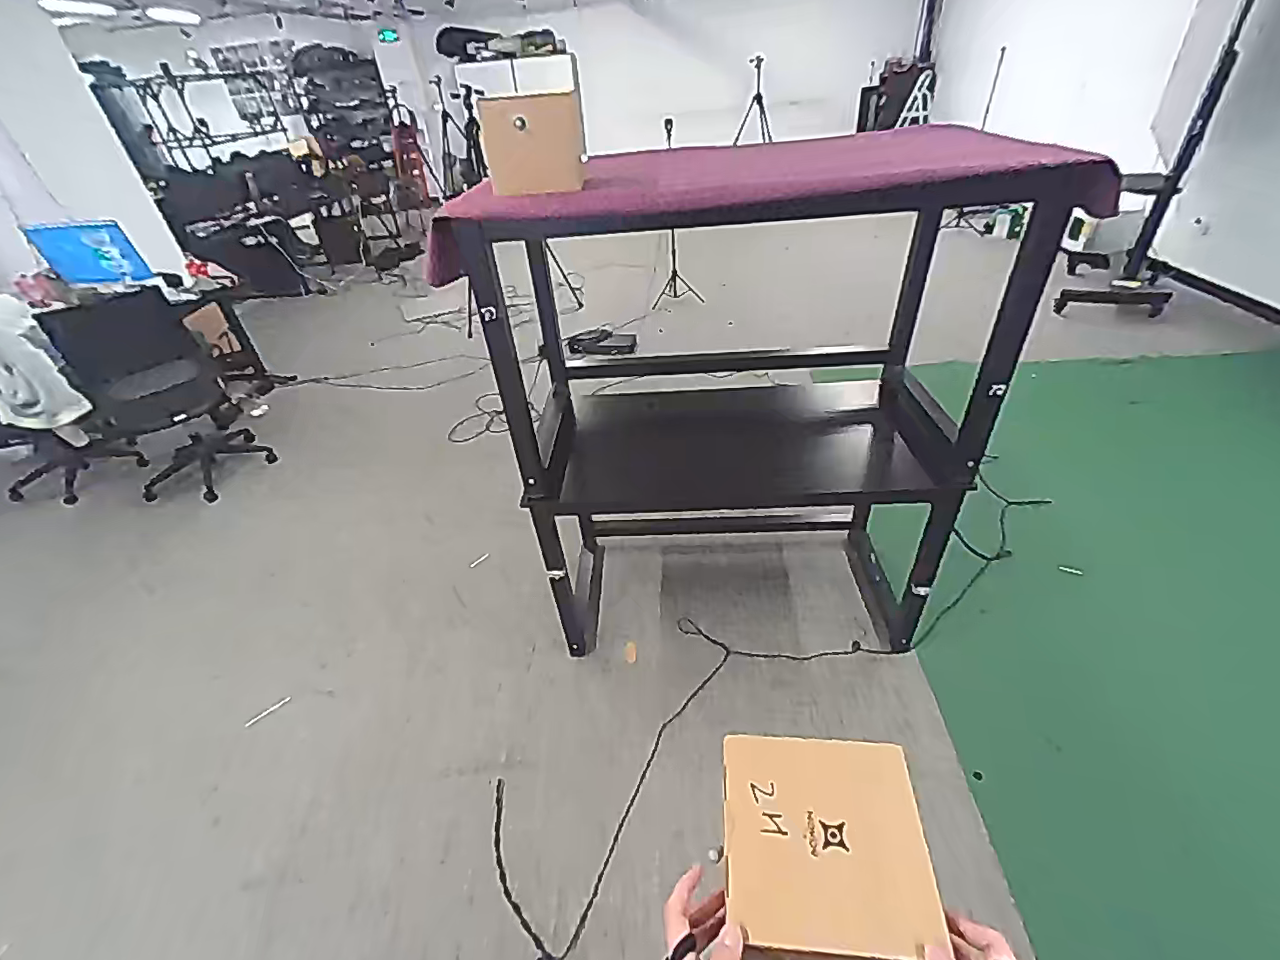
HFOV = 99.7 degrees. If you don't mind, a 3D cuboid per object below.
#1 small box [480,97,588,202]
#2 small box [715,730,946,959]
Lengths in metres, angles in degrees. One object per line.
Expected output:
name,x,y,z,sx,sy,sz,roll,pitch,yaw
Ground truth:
small box,-0.208,-0.680,1.113,0.179,0.176,0.168,-3,37,1
small box,0.164,0.369,0.534,0.179,0.176,0.168,0,42,8
